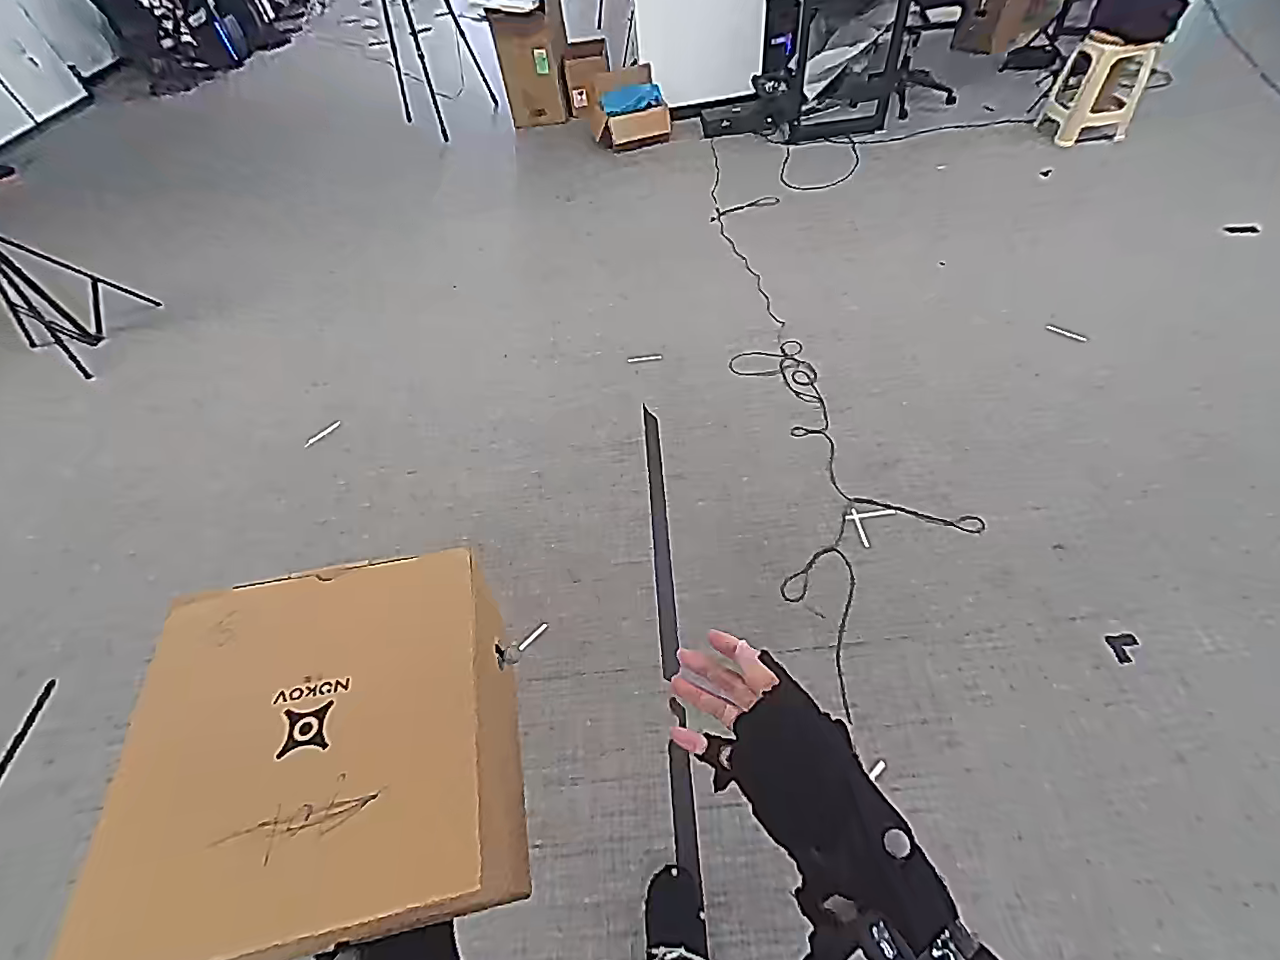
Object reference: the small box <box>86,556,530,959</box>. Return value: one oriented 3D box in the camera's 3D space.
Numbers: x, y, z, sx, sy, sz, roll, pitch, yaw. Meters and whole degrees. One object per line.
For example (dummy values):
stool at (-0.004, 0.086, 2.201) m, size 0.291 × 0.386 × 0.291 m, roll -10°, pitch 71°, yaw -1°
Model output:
small box at (-0.168, 0.175, 0.347) m, size 0.168 × 0.176 × 0.179 m, roll -9°, pitch 52°, yaw -8°
